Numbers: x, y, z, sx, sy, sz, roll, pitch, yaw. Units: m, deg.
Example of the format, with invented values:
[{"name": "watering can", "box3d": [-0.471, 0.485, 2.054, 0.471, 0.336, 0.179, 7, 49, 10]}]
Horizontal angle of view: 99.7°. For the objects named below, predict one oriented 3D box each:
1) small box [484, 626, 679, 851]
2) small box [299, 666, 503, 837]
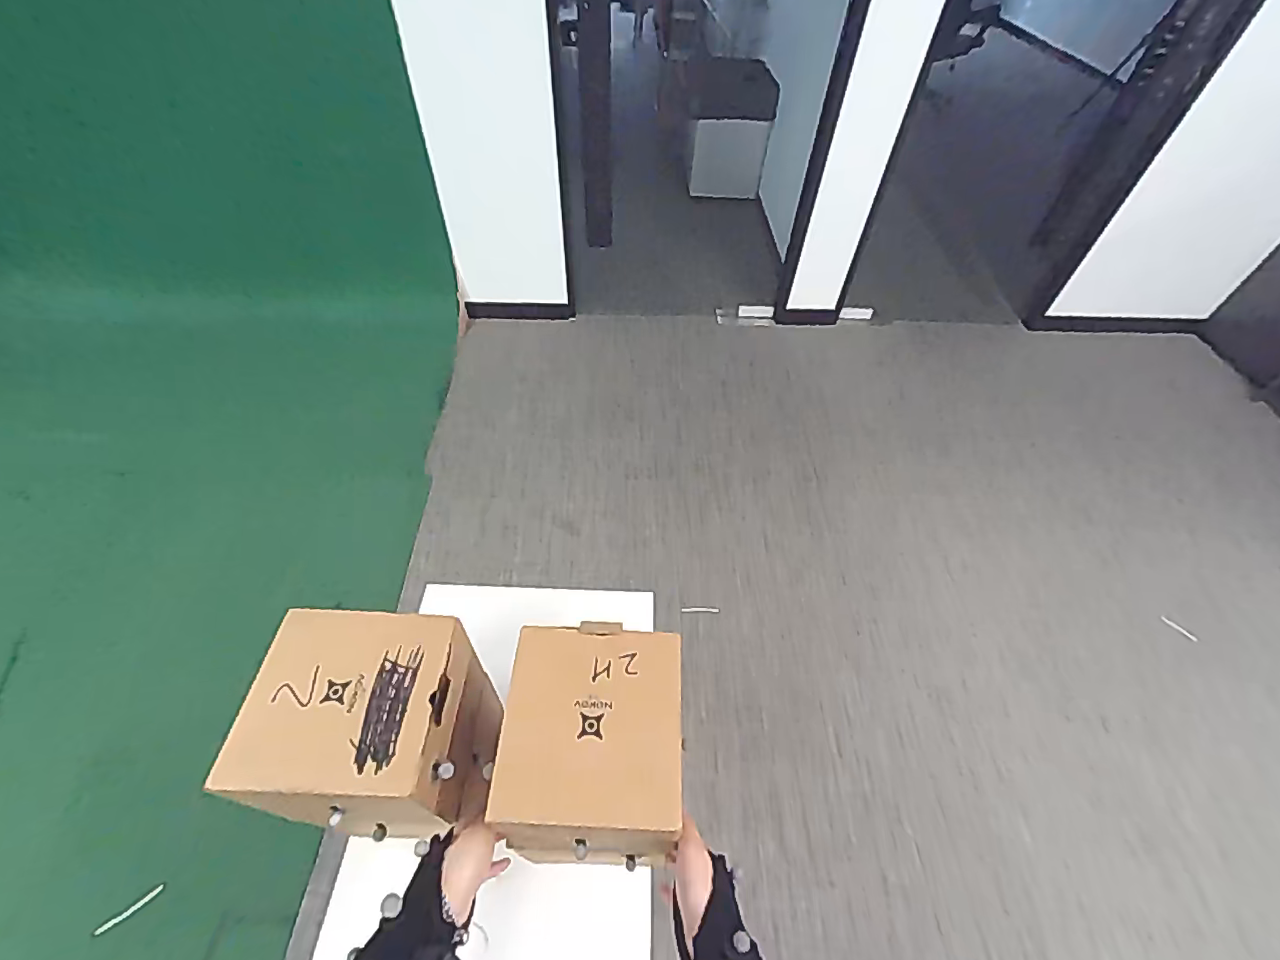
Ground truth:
[{"name": "small box", "box3d": [-0.048, 0.272, 0.562, 0.168, 0.176, 0.179, 3, 50, 0]}, {"name": "small box", "box3d": [-0.286, 0.353, 0.697, 0.179, 0.176, 0.168, 3, 51, -3]}]
